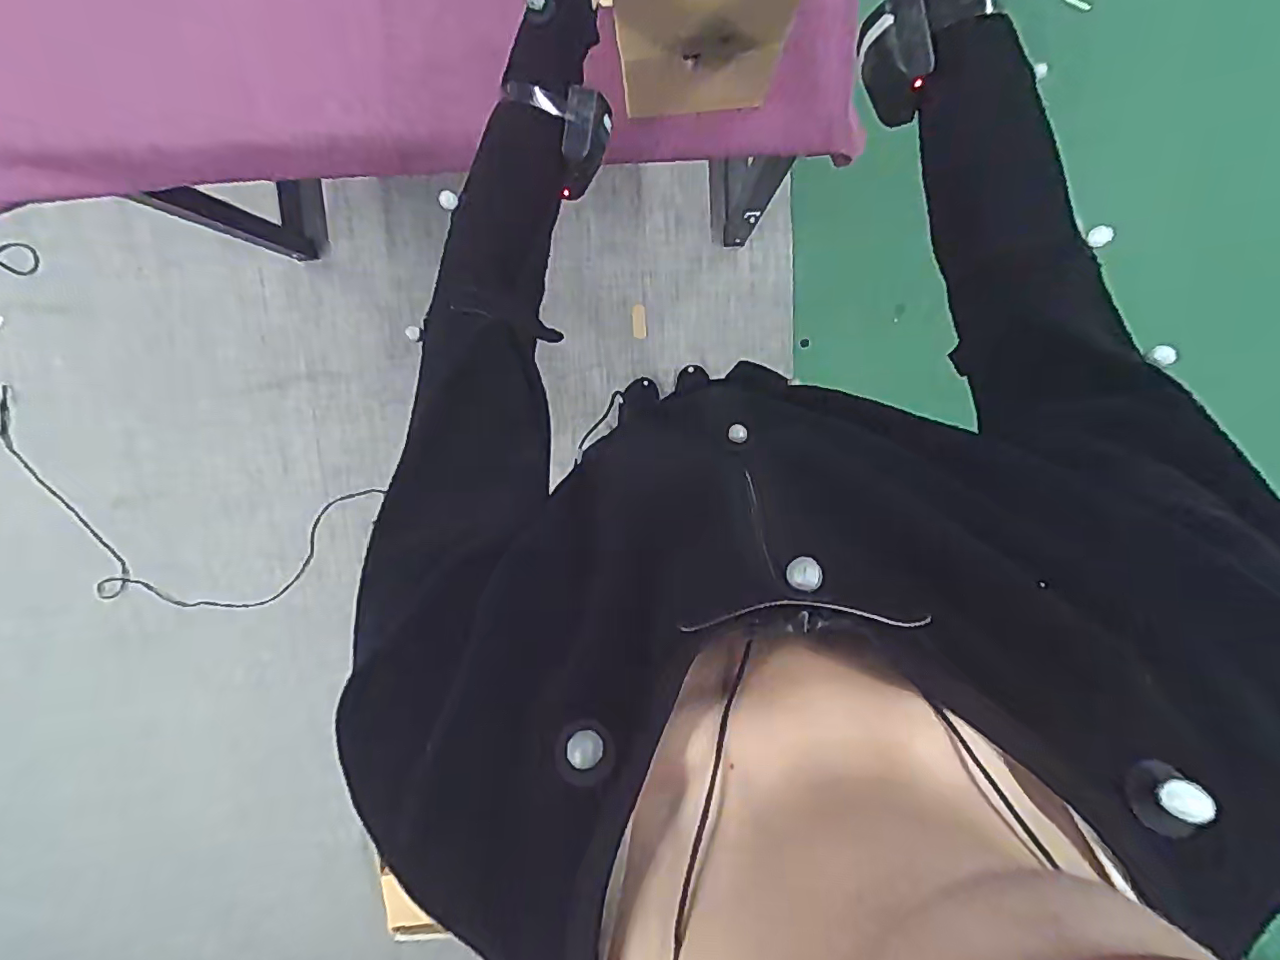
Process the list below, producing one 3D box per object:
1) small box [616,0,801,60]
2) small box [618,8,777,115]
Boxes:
[{"bbox_3d":[0.058,-0.499,0.451,0.168,0.176,0.179,-1,98,3],"label":"small box"},{"bbox_3d":[0.065,-0.542,0.610,0.179,0.176,0.168,-4,99,2],"label":"small box"}]
